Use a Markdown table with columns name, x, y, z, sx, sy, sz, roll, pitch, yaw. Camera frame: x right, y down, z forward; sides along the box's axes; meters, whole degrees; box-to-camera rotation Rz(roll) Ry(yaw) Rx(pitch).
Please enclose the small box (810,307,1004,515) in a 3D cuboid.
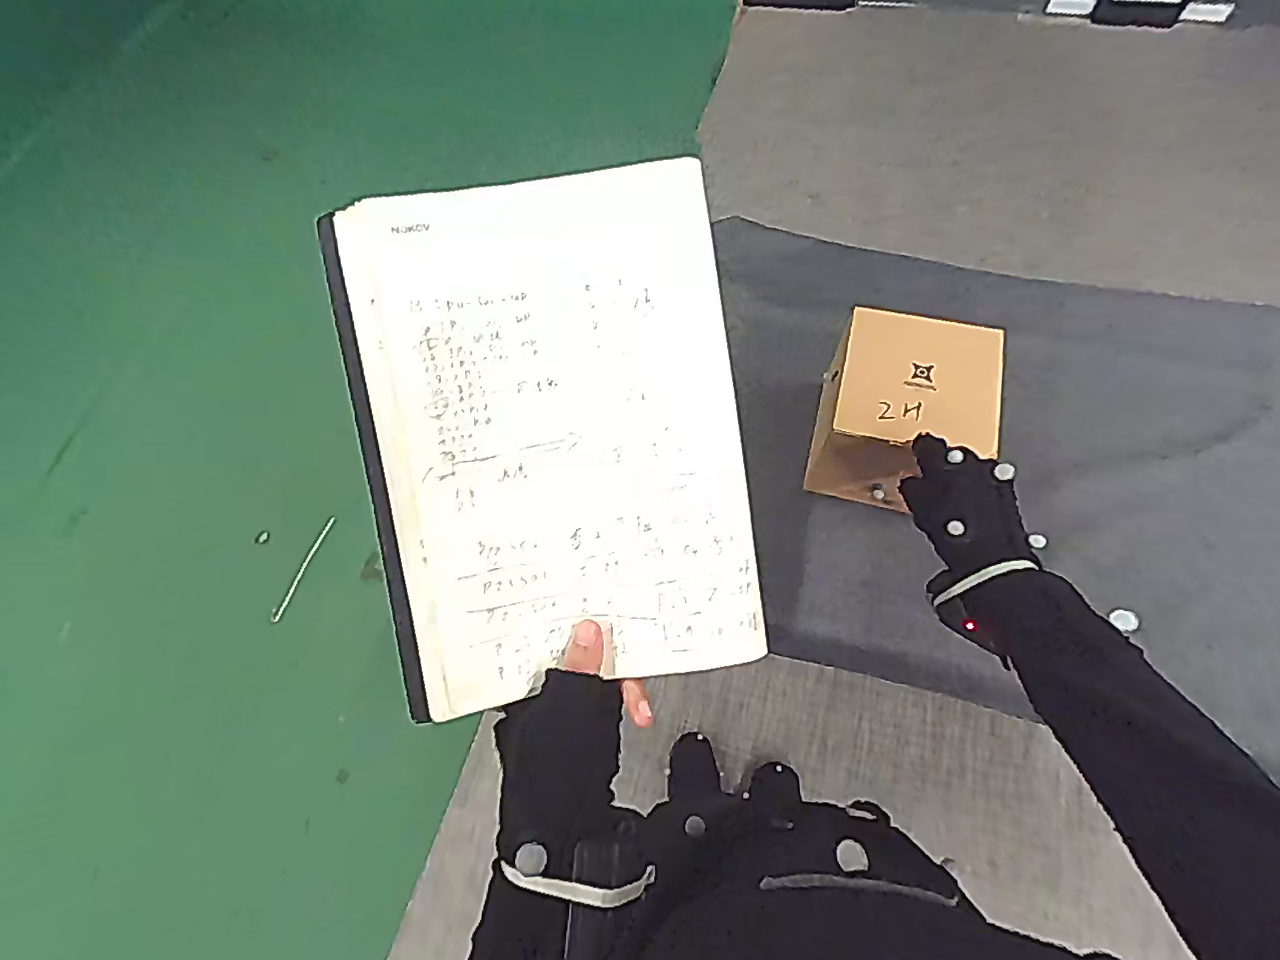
| name | x | y | z | sx | sy | sz | roll | pitch | yaw |
| --- | --- | --- | --- | --- | --- | --- | --- | --- | --- |
| small box | 0.319 | -0.079 | 0.671 | 0.168 | 0.176 | 0.179 | 13 | 68 | 12 |
